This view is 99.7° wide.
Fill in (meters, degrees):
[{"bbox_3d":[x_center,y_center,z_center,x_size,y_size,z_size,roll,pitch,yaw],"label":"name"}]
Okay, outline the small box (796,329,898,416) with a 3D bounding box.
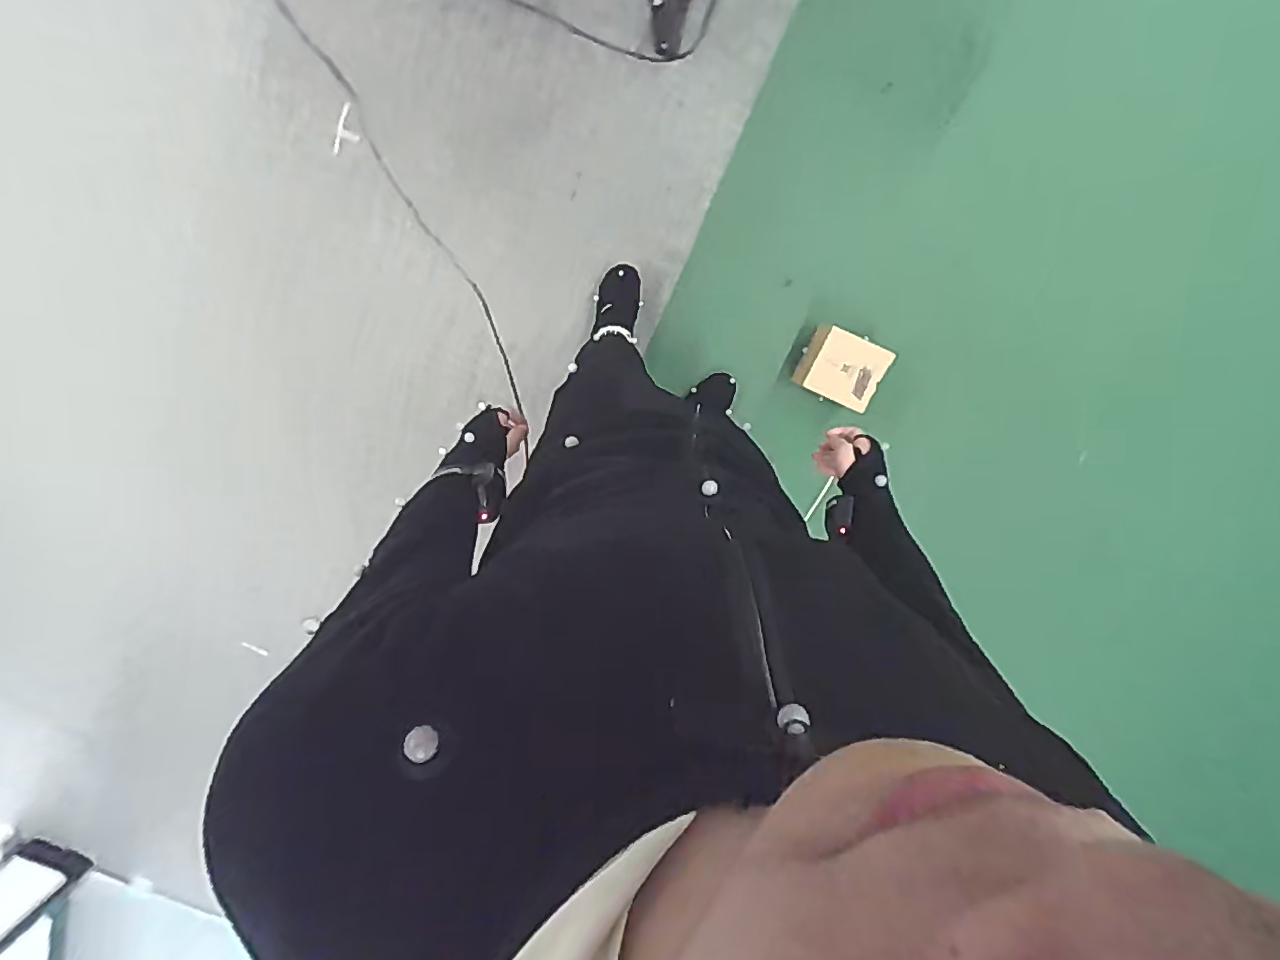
[{"bbox_3d":[0.538,-0.291,1.433,0.179,0.176,0.168,26,106,0],"label":"small box"}]
